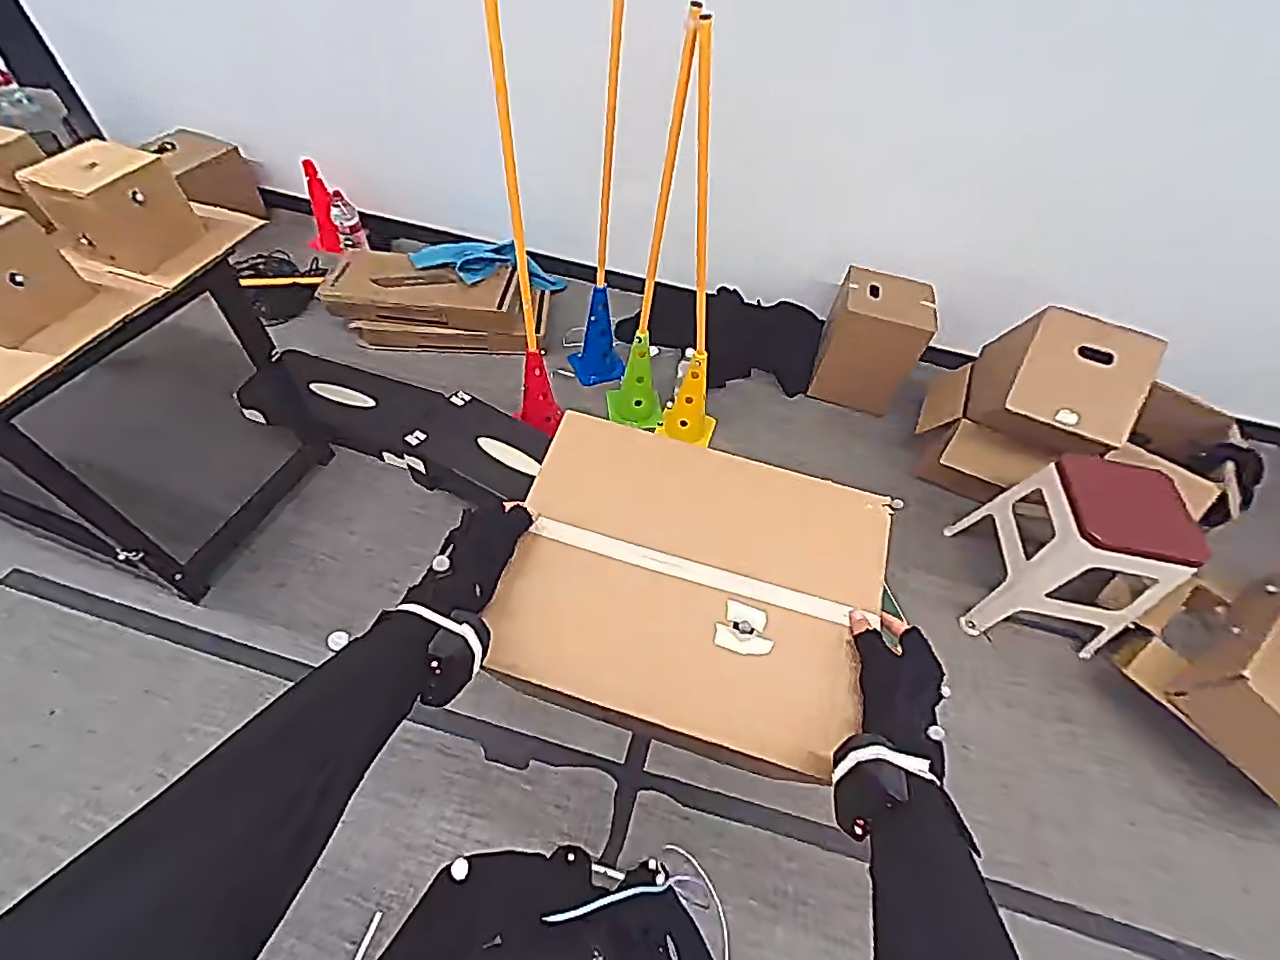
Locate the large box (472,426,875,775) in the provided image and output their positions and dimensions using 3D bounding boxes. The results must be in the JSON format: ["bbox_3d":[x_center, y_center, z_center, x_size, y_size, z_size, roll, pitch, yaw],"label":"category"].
[{"bbox_3d":[0.048,0.175,0.735,0.408,0.320,0.320,15,64,5],"label":"large box"}]
